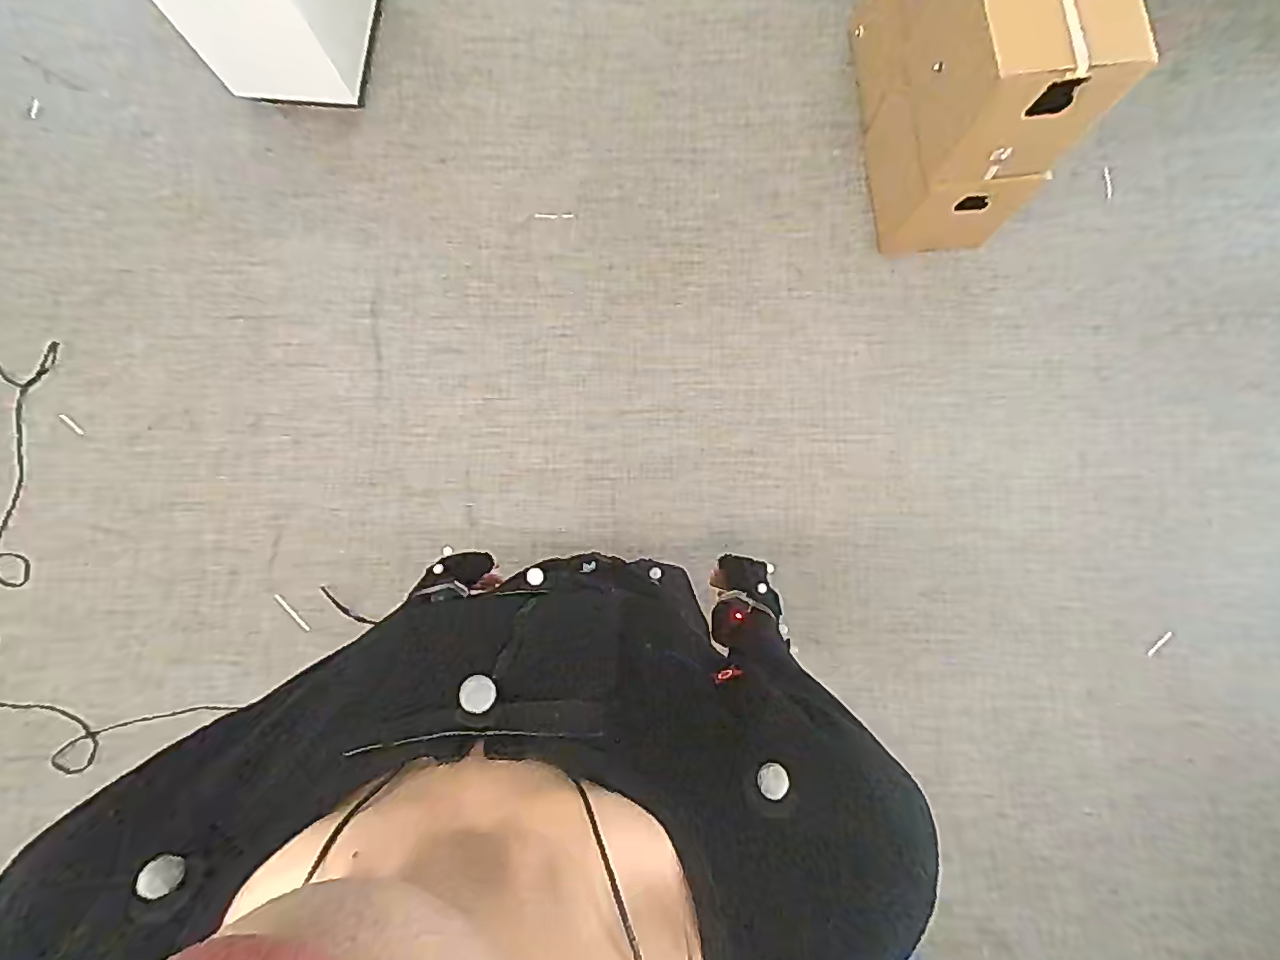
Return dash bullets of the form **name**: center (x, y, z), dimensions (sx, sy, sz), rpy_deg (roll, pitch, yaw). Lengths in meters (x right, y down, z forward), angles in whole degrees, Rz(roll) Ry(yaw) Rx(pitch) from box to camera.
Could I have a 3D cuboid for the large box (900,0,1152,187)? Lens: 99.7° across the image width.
- **large box**: center (0.845, -0.970, 1.247), dimensions (0.320, 0.320, 0.408), rpy_deg (-5, 80, 1)
